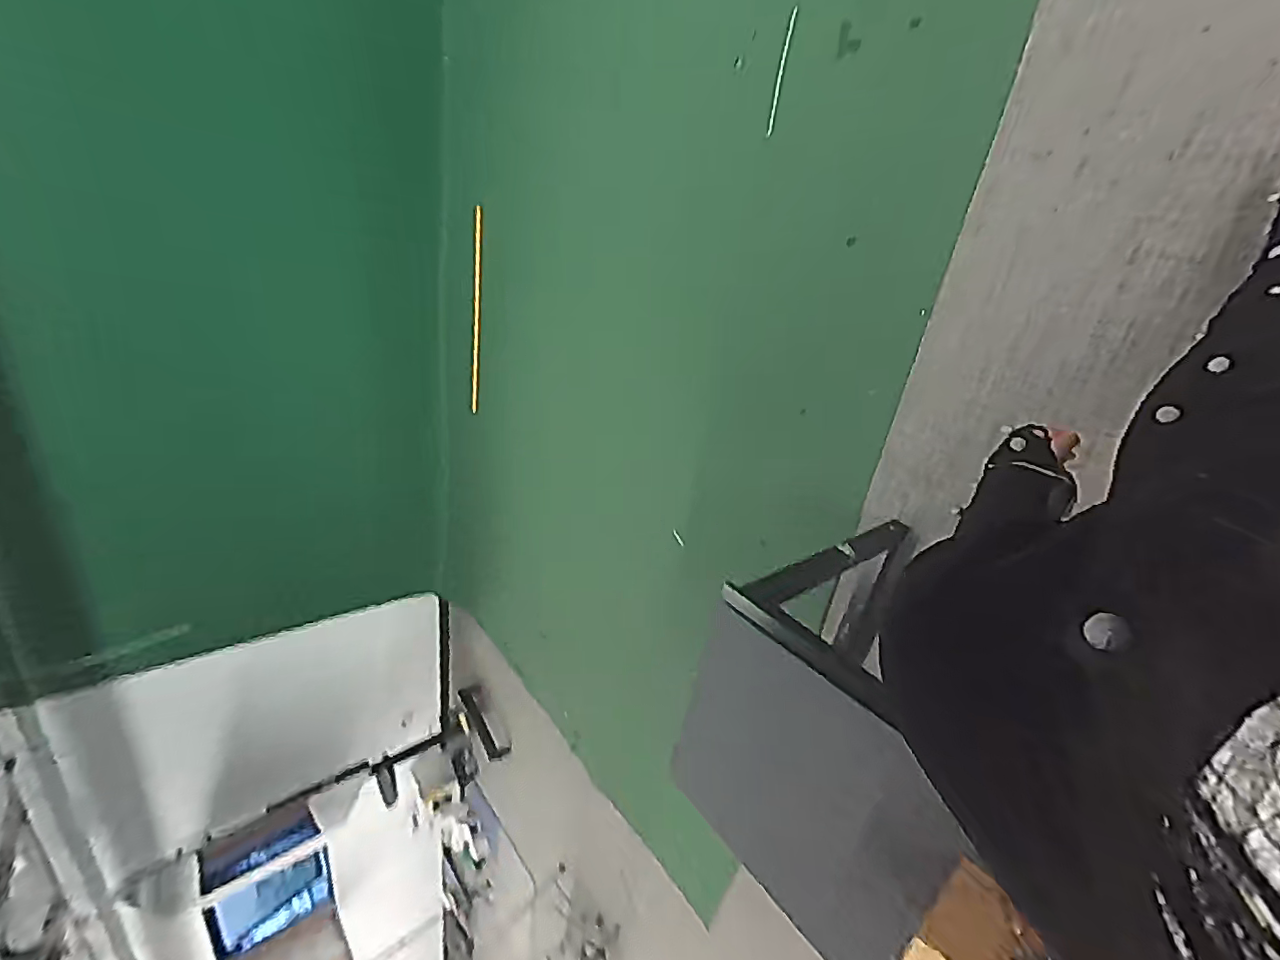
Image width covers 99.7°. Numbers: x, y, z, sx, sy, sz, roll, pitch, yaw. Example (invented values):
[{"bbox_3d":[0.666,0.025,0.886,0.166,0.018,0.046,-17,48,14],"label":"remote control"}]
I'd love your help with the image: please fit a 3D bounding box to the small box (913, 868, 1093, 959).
[{"bbox_3d":[0.463,0.676,0.711,0.168,0.176,0.179,28,120,43],"label":"small box"}]
